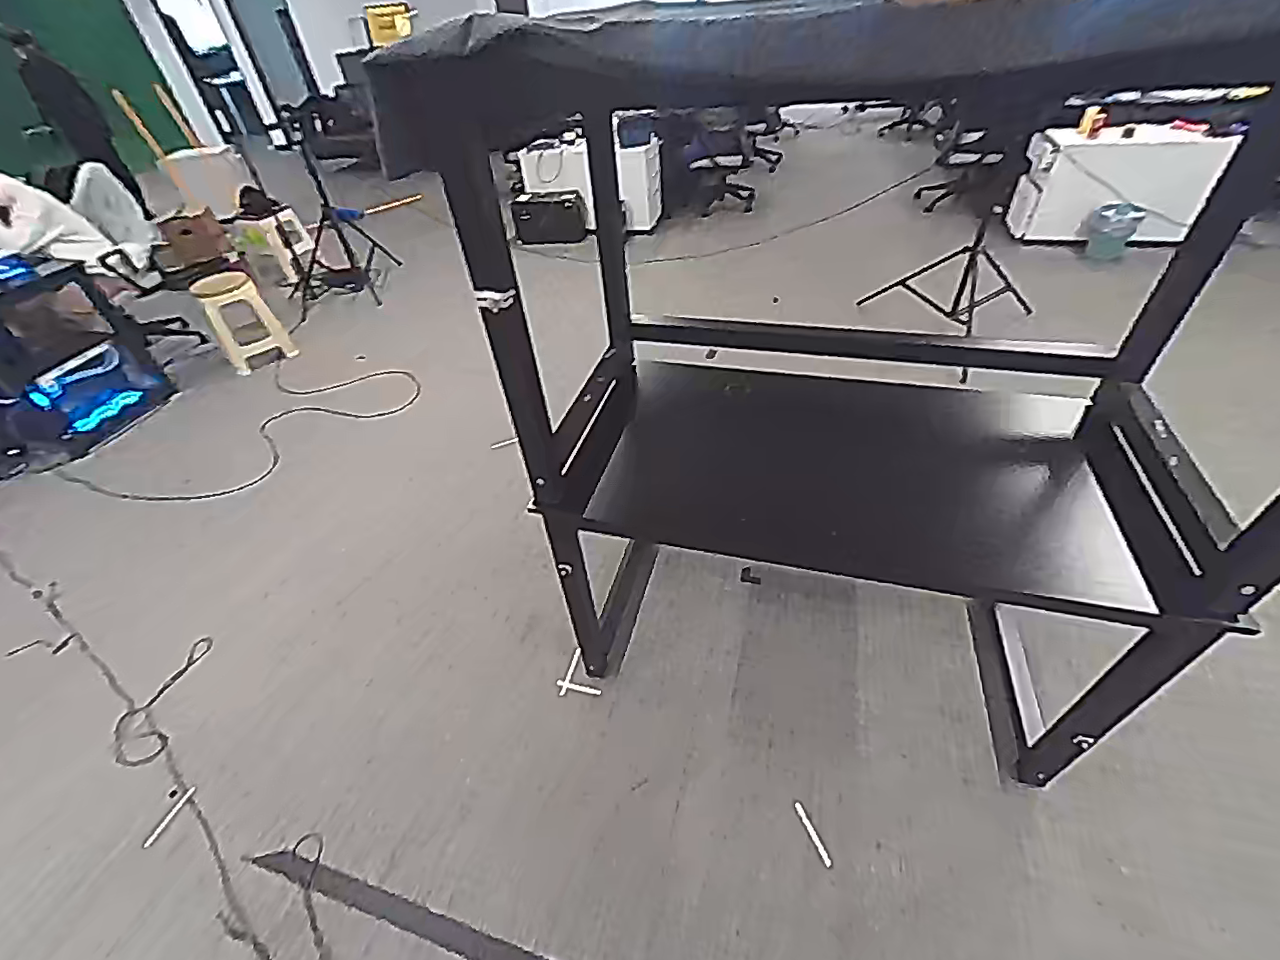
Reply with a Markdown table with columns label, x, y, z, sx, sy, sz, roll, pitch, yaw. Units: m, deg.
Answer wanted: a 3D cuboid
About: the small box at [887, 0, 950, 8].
| label | x | y | z | sx | sy | sz | roll | pitch | yaw |
| --- | --- | --- | --- | --- | --- | --- | --- | --- | --- |
| small box | 0.348 | -0.584 | 0.530 | 0.168 | 0.176 | 0.179 | 8 | 42 | 14 |
